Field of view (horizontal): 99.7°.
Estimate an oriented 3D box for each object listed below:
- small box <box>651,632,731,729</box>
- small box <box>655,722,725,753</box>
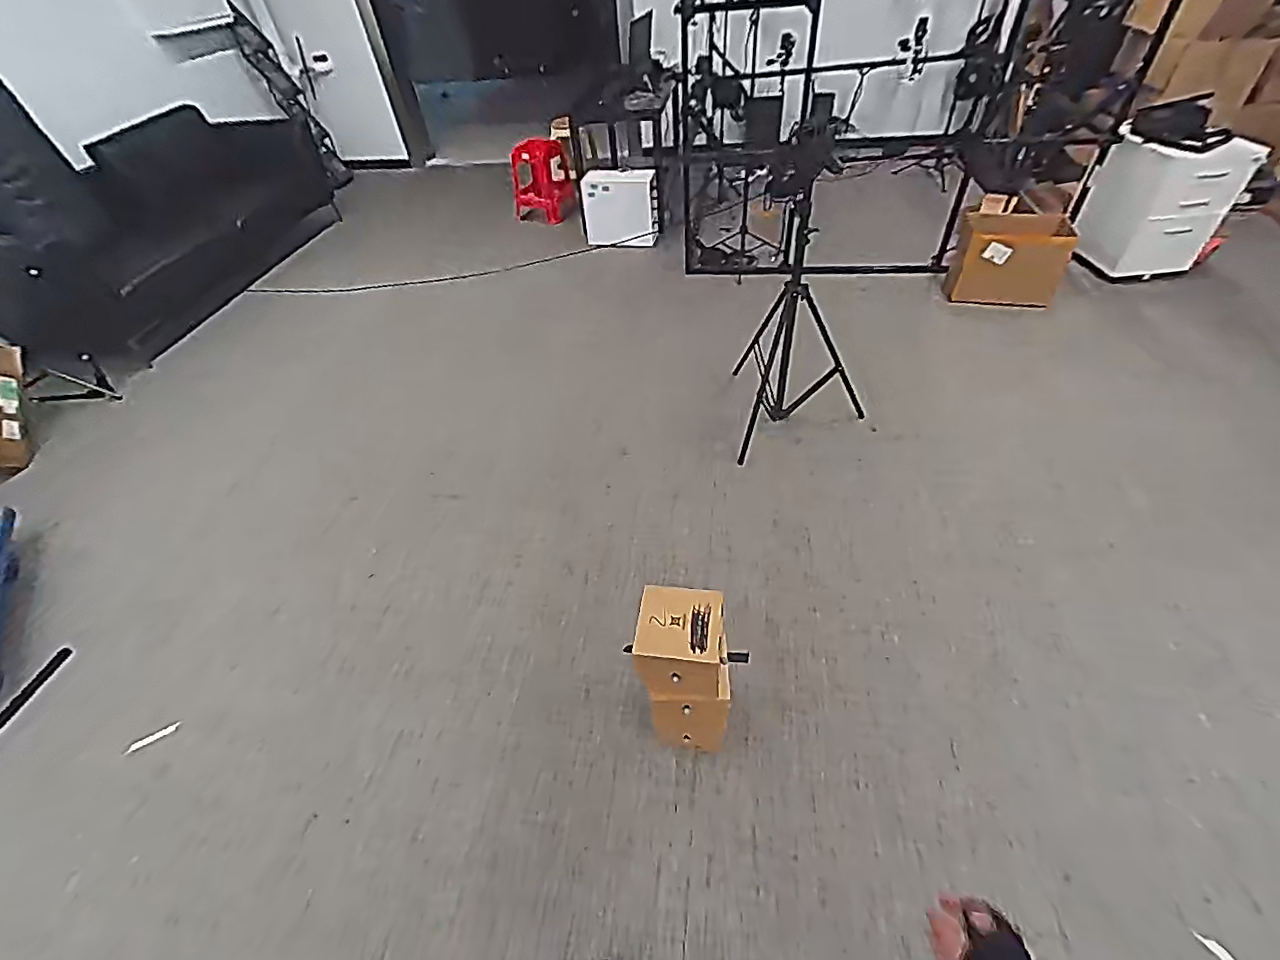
[{"bbox_3d":[0.119,0.476,1.280,0.179,0.176,0.168,-2,45,5],"label":"small box"},{"bbox_3d":[0.139,0.582,1.401,0.168,0.176,0.179,5,46,11],"label":"small box"}]
